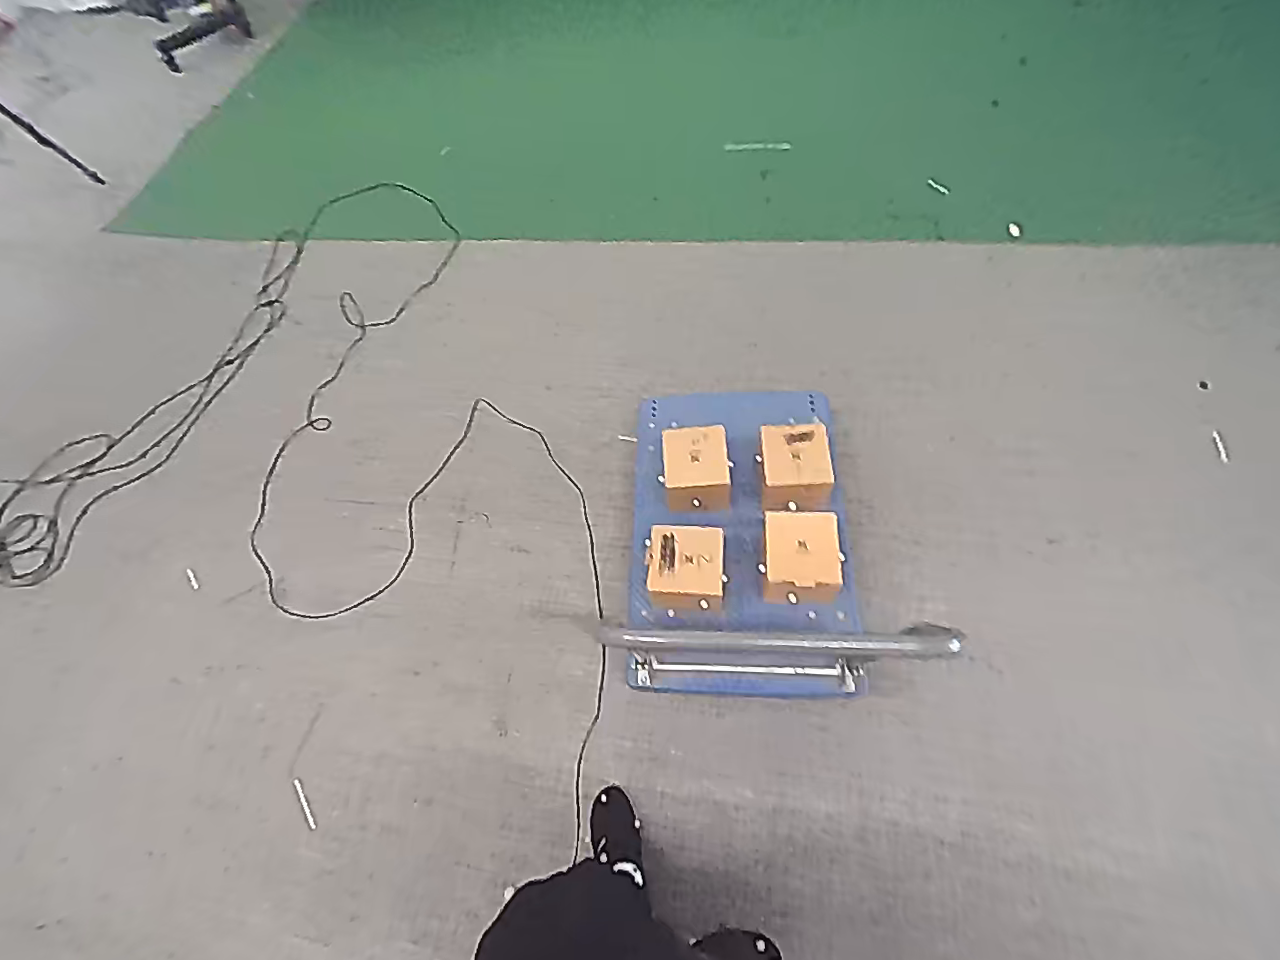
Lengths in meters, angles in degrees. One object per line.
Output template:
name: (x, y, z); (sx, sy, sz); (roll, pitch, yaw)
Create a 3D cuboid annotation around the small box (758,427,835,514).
small box: (0.408, -0.023, 1.437); (0.168, 0.176, 0.179); (-2, 63, 7)

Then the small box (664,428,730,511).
small box: (0.155, -0.021, 1.469); (0.168, 0.176, 0.179); (-3, 62, 5)

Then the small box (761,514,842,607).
small box: (0.389, 0.199, 1.327); (0.168, 0.176, 0.179); (1, 62, 8)
